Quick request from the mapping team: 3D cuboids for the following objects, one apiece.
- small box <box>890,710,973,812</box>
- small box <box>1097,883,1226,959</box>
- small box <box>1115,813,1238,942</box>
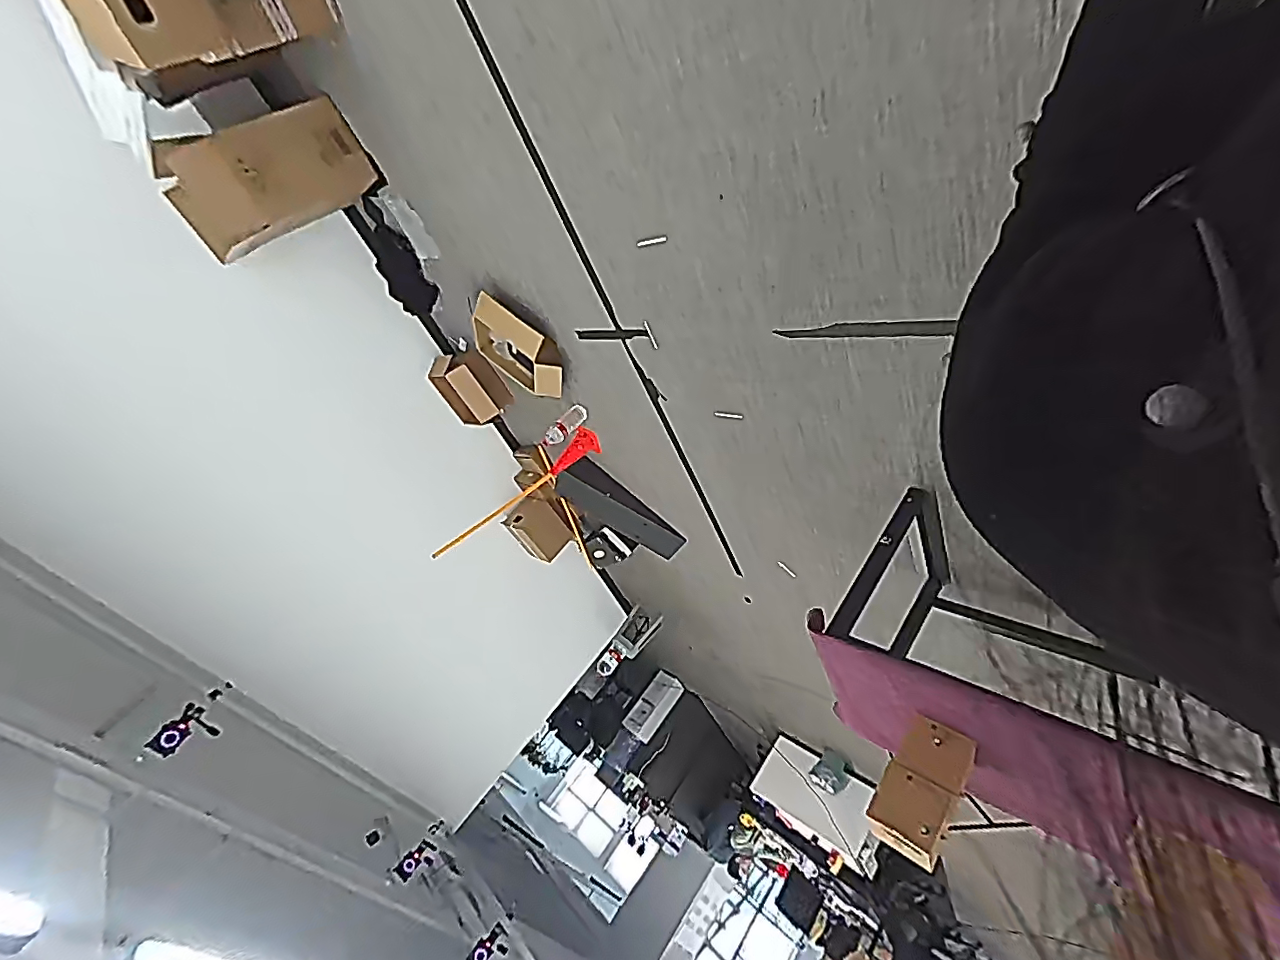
[{"bbox_3d":[0.840,0.806,1.559,0.168,0.176,0.179,18,145,40],"label":"small box"},{"bbox_3d":[1.080,0.995,1.127,0.168,0.176,0.179,14,144,45],"label":"small box"},{"bbox_3d":[1.178,0.881,1.193,0.168,0.176,0.179,15,144,45],"label":"small box"}]
